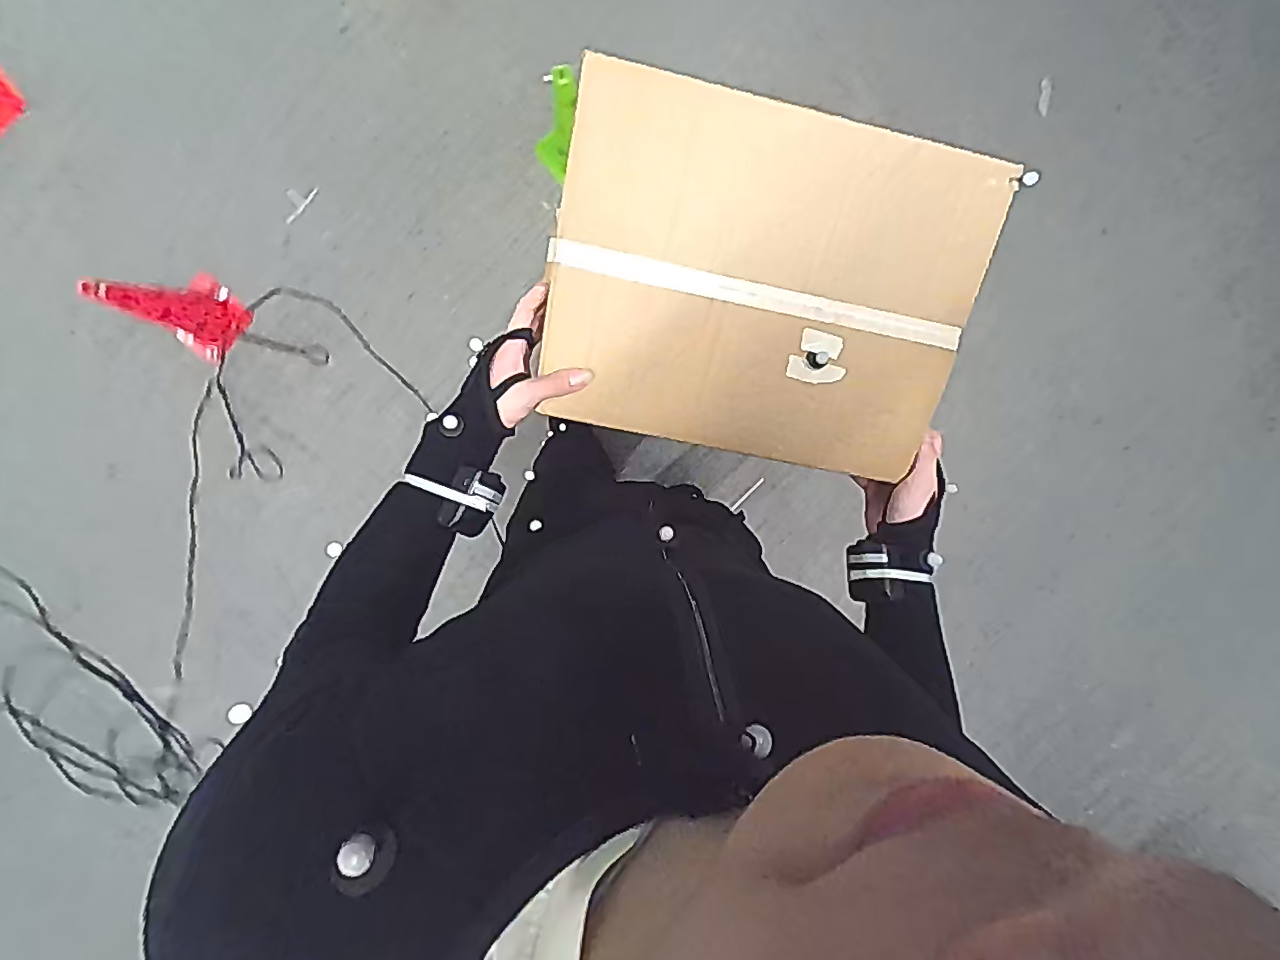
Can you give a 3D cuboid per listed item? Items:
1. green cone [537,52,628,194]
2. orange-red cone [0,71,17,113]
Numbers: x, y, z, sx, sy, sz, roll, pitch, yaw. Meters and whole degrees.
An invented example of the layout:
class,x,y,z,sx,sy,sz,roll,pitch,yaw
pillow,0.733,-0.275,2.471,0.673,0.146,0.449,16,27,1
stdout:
class,x,y,z,sx,sy,sz,roll,pitch,yaw
green cone,-0.166,-0.927,1.358,0.200,0.368,0.202,-38,93,4
orange-red cone,-1.882,-1.088,1.352,0.199,0.360,0.198,-37,94,5
